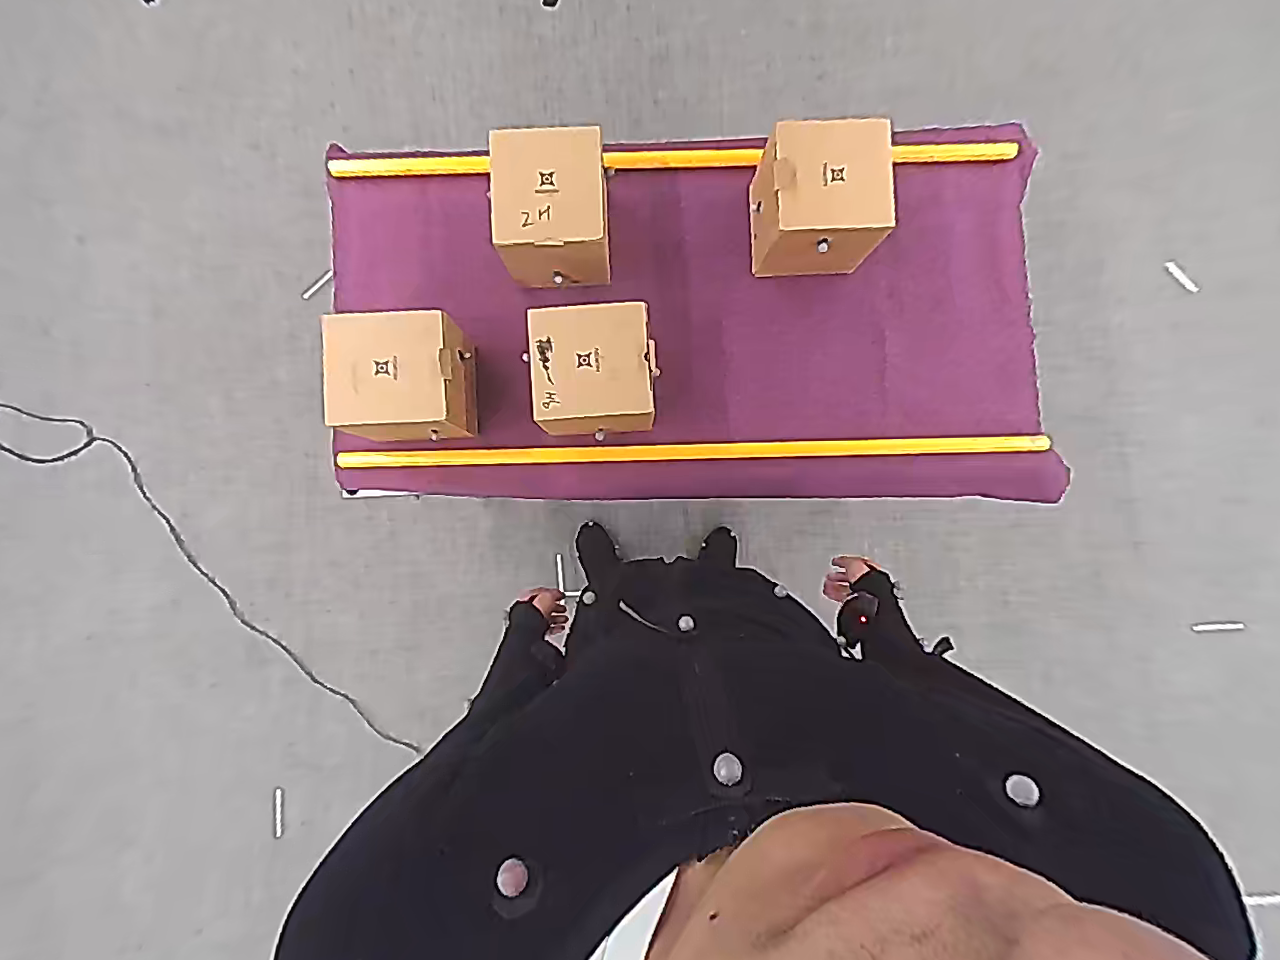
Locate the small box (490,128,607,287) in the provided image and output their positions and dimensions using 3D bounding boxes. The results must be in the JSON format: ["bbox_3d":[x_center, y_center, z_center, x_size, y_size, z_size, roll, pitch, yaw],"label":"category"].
[{"bbox_3d":[-0.141,-0.431,0.875,0.168,0.176,0.179,-2,88,0],"label":"small box"}]

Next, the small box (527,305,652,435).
[{"bbox_3d":[-0.076,-0.167,0.860,0.179,0.176,0.168,-3,86,-1],"label":"small box"}]

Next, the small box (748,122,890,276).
[{"bbox_3d":[0.282,-0.446,0.880,0.179,0.176,0.168,-2,88,0],"label":"small box"}]

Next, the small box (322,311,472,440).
[{"bbox_3d":[-0.371,-0.158,0.856,0.179,0.176,0.168,-3,86,-3],"label":"small box"}]
